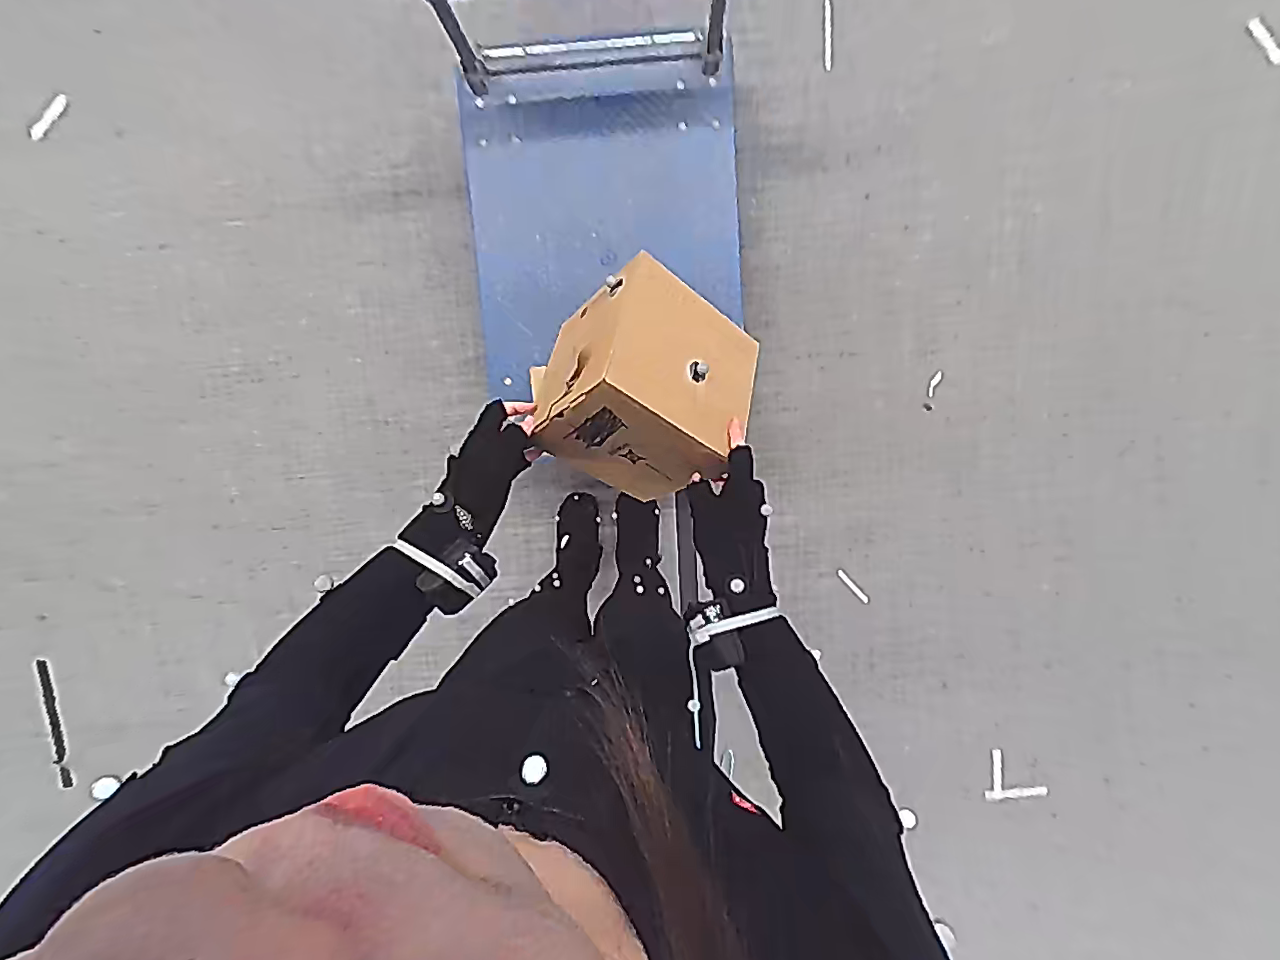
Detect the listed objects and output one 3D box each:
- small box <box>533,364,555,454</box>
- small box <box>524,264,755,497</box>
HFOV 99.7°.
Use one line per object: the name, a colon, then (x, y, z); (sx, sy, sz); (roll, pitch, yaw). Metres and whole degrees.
small box: (-0.120, -0.156, 1.140); (0.168, 0.176, 0.179); (-5, 98, 1)
small box: (0.004, -0.104, 0.594); (0.179, 0.168, 0.176); (27, 62, -29)
